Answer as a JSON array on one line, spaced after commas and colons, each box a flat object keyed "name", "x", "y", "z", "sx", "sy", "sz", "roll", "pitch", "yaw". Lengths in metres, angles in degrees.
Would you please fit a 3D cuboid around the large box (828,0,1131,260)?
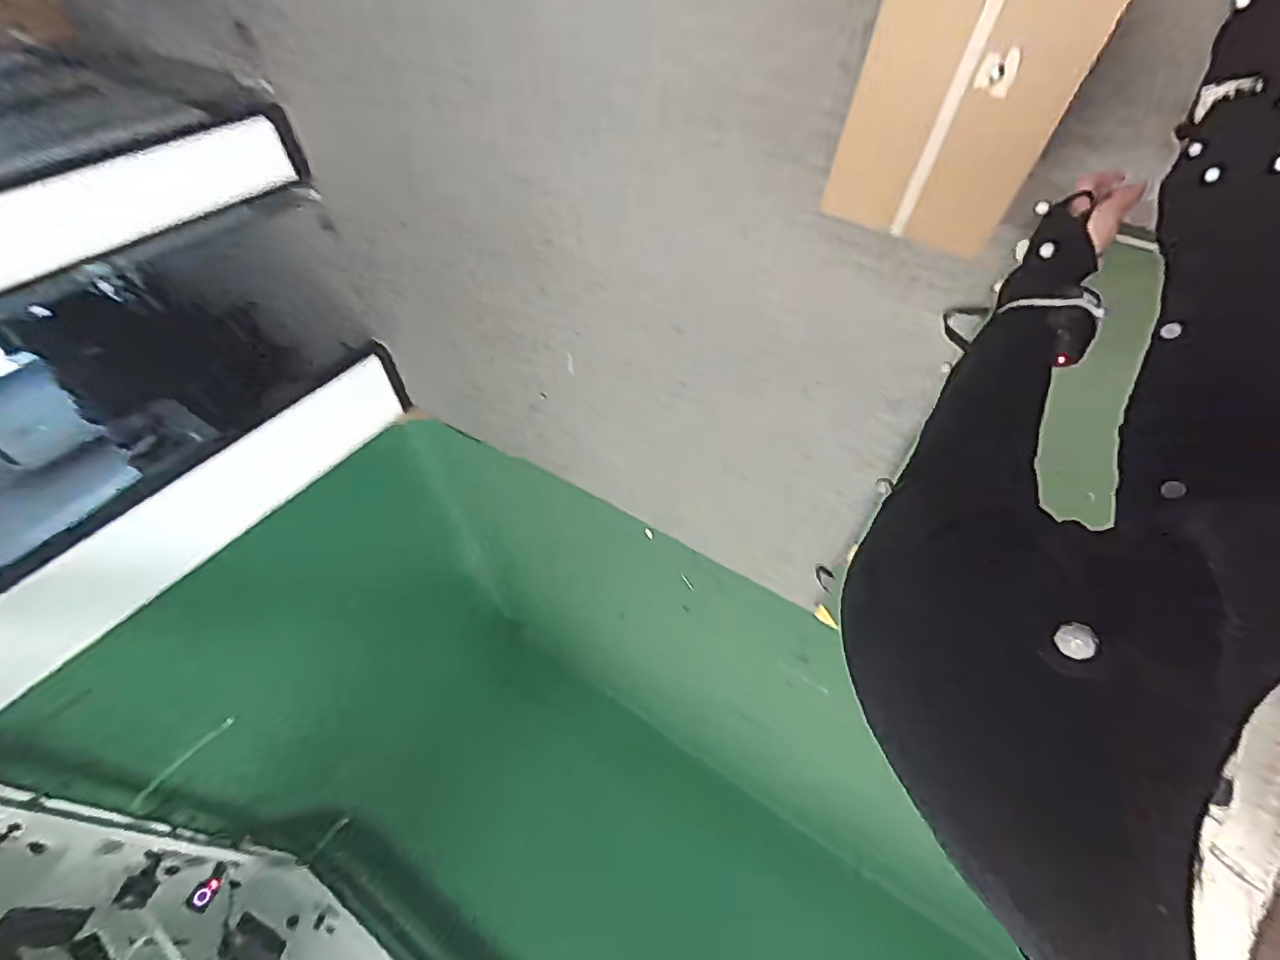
[{"name": "large box", "x": 0.594, "y": -0.687, "z": 0.972, "sx": 0.320, "sy": 0.320, "sz": 0.408, "roll": 28, "pitch": 144, "yaw": 18}]
